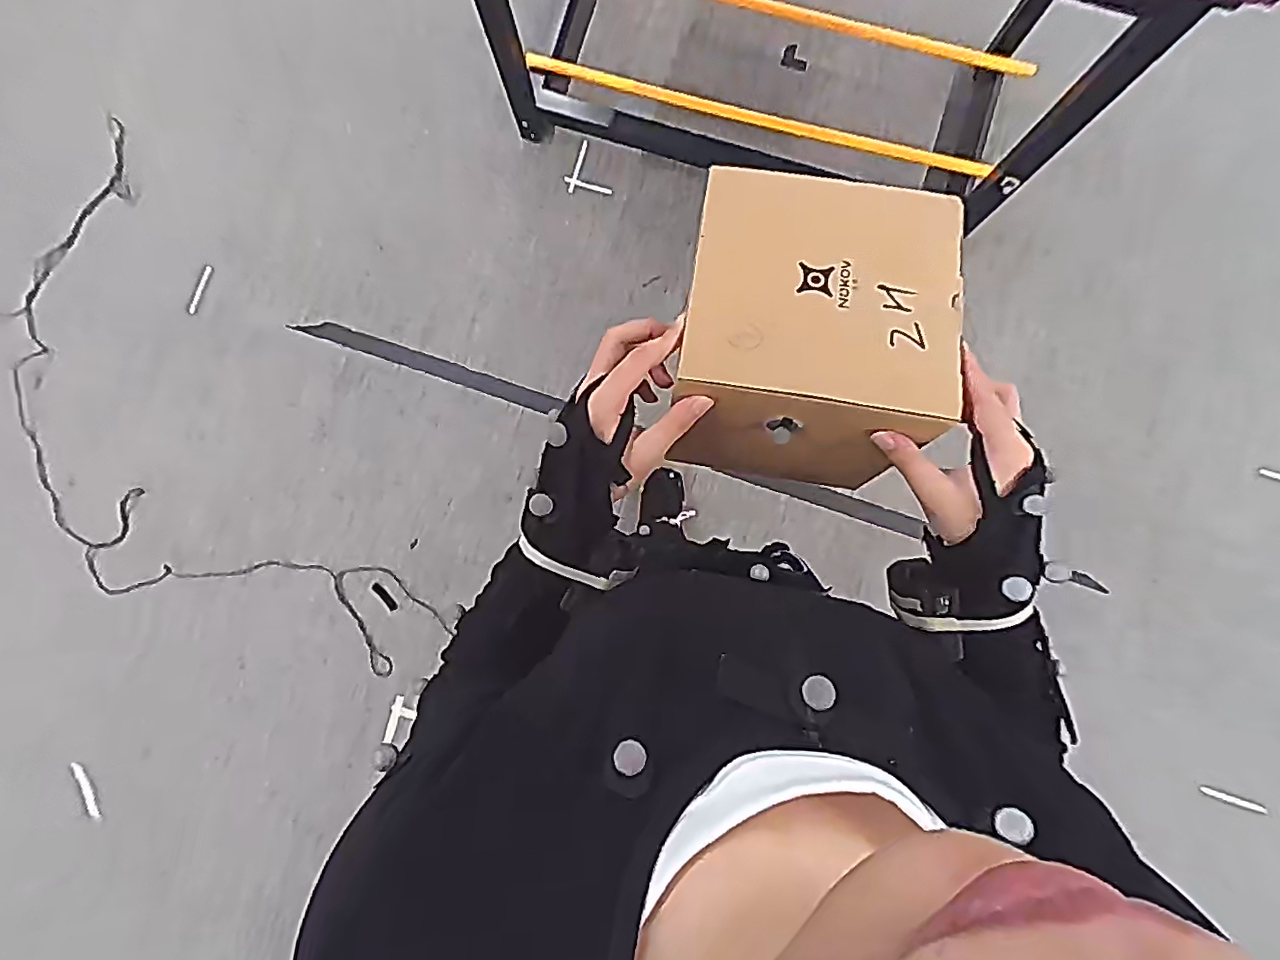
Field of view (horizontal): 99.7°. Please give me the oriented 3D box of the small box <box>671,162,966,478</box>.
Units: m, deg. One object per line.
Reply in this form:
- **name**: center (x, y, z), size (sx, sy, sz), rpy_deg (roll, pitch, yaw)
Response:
- **small box**: center (0.122, -0.108, 0.426), size (0.179, 0.176, 0.168), rpy_deg (9, 75, 3)
